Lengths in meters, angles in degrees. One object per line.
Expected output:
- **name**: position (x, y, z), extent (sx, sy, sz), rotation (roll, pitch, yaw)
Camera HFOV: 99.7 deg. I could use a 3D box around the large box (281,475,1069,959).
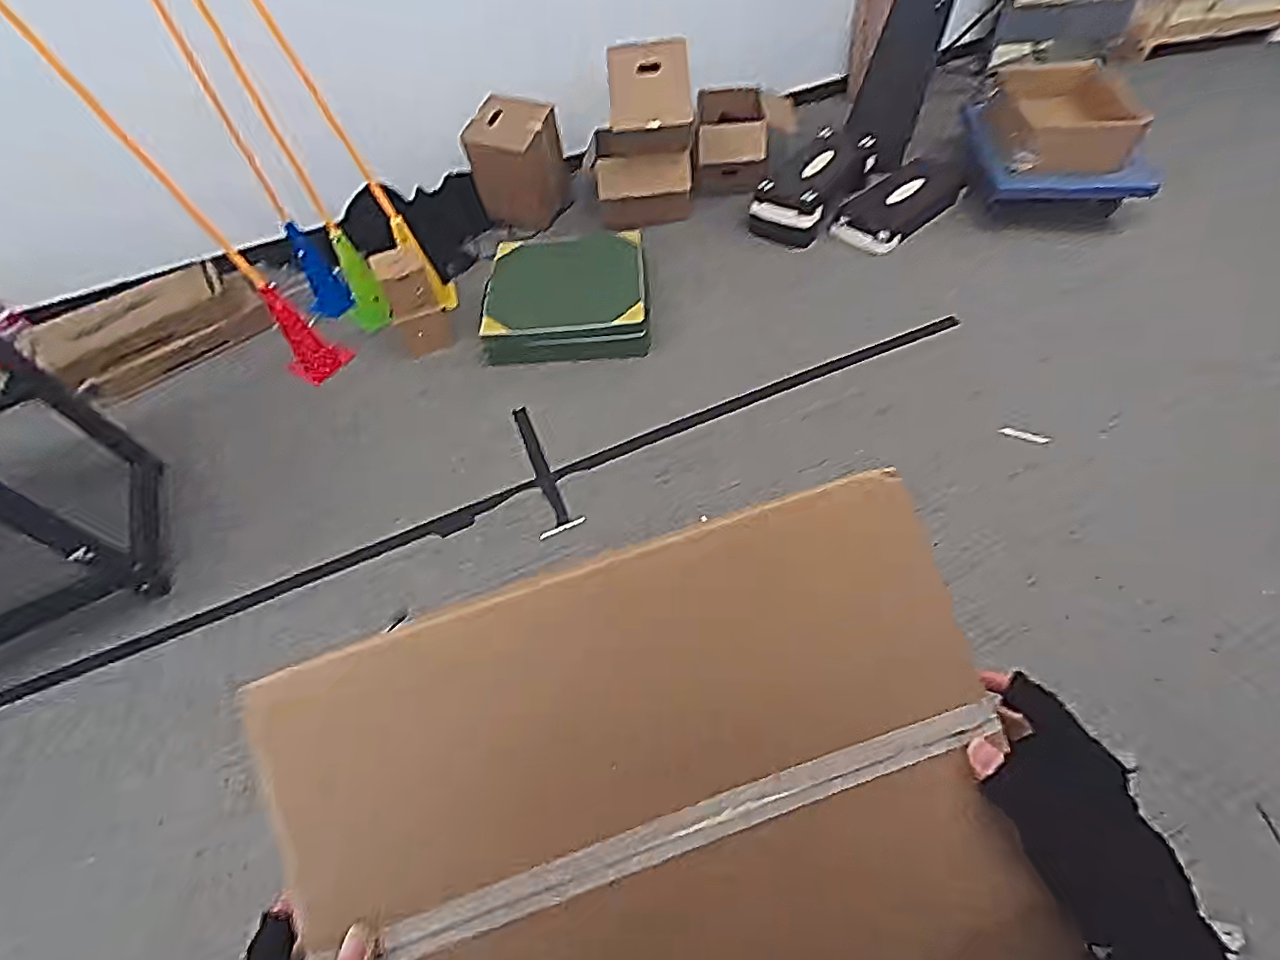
- **large box**: position (0.013, 0.223, 0.467), extent (0.408, 0.320, 0.320), rotation (-19, 84, -3)
